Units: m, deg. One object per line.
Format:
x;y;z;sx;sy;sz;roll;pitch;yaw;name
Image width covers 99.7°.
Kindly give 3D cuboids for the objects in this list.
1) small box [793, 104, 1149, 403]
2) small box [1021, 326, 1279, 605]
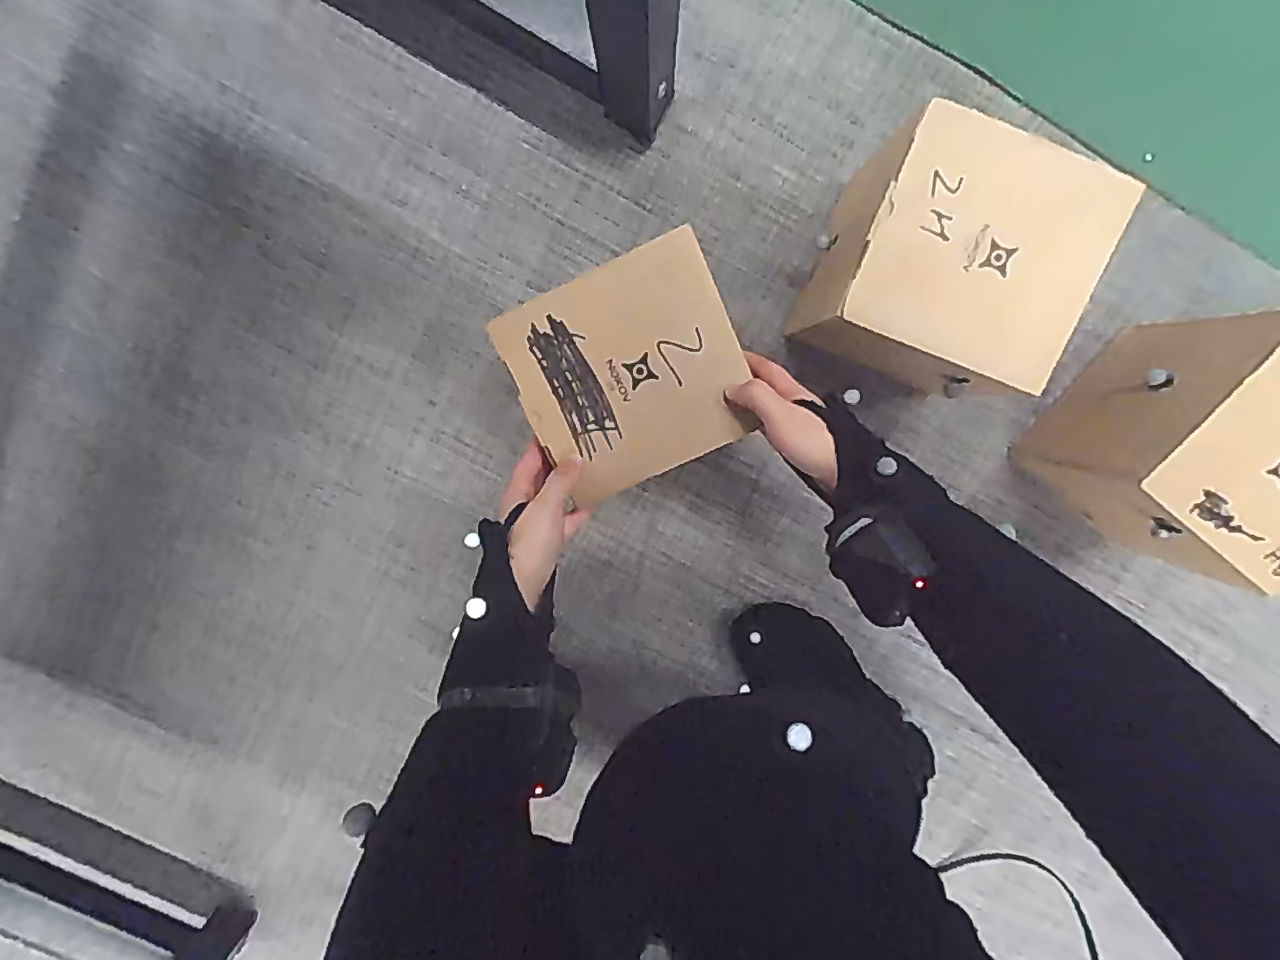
0.263;-0.179;0.480;0.179;0.176;0.168;21;100;-2;small box
0.516;-0.026;0.501;0.168;0.176;0.179;37;99;-6;small box
